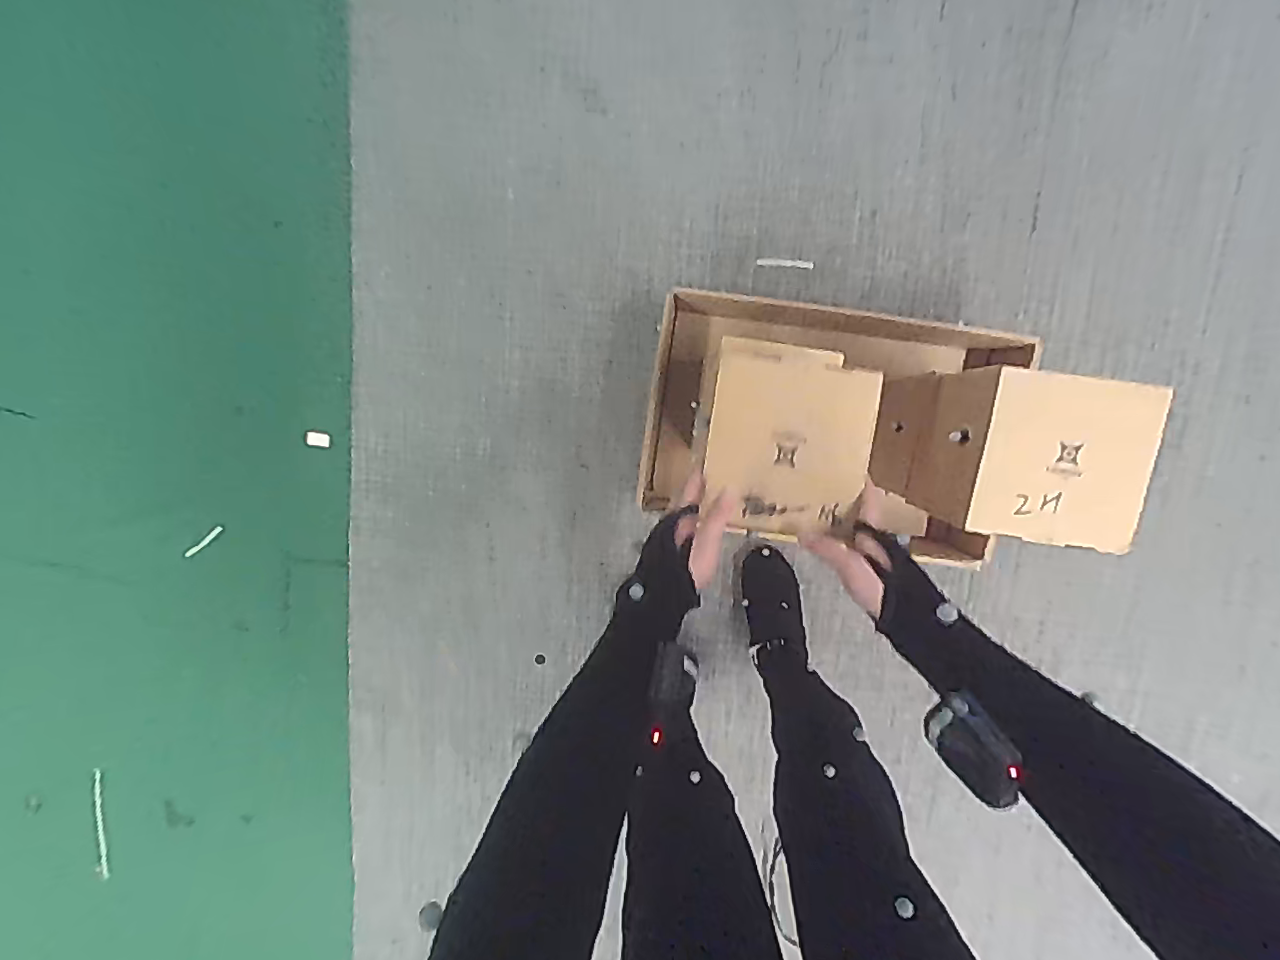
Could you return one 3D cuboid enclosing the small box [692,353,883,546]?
[{"bbox_3d":[0.153,-0.034,0.620,0.168,0.176,0.179,8,94,4],"label":"small box"}]

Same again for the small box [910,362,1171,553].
[{"bbox_3d":[0.441,-0.031,0.630,0.168,0.176,0.179,9,98,5],"label":"small box"}]

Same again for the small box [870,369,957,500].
[{"bbox_3d":[0.457,-0.055,0.793,0.168,0.176,0.179,11,97,4],"label":"small box"}]

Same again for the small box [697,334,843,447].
[{"bbox_3d":[0.180,-0.106,0.806,0.168,0.176,0.179,9,97,2],"label":"small box"}]
